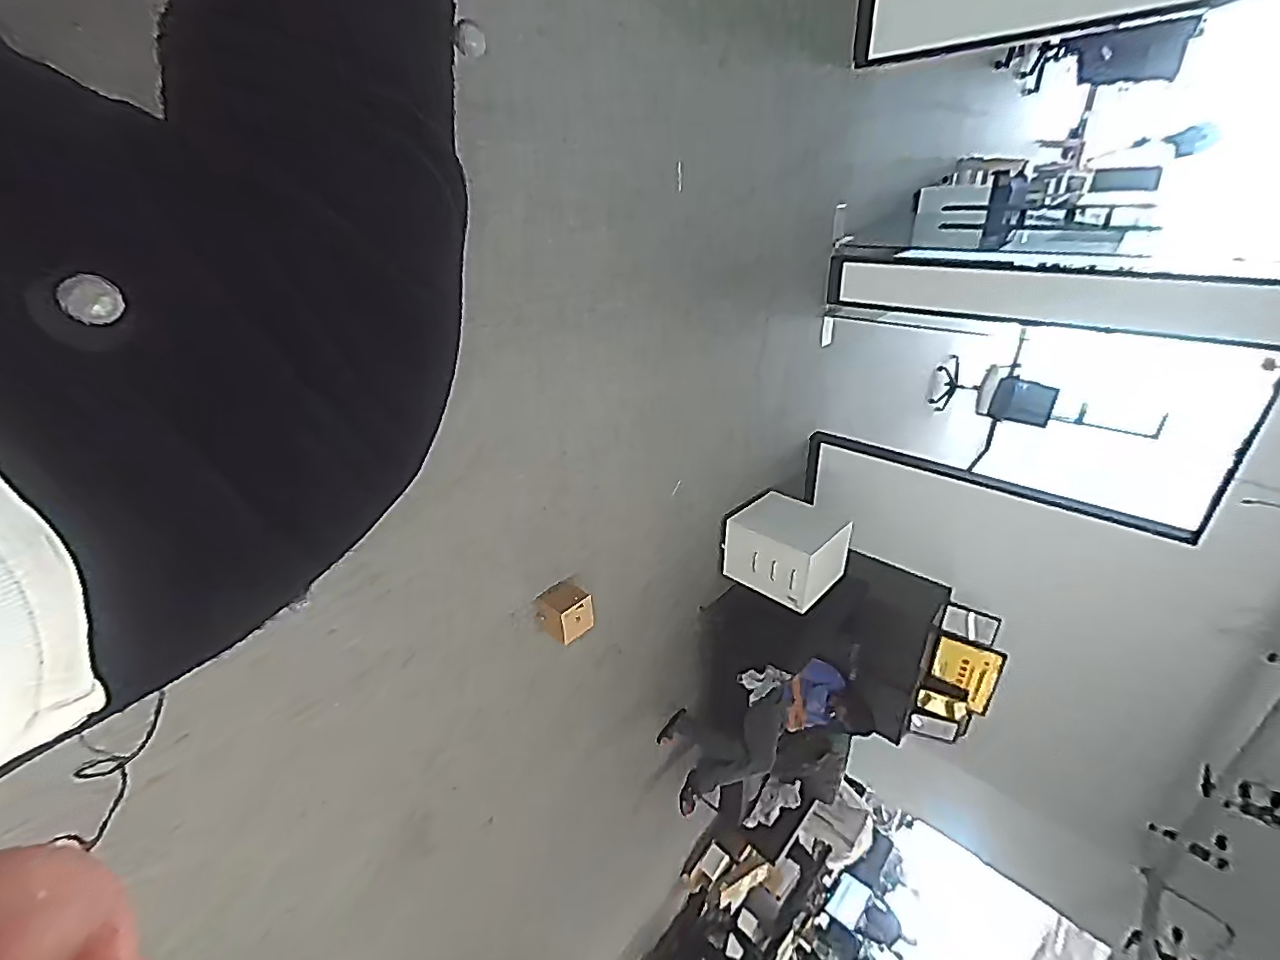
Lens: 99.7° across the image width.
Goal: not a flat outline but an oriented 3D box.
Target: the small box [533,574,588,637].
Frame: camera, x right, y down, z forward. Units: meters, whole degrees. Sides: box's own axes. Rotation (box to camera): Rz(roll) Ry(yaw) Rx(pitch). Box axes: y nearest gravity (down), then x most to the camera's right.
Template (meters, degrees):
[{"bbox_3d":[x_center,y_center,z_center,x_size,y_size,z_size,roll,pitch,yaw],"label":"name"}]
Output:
[{"bbox_3d":[-0.348,0.540,2.350,0.168,0.176,0.179,-29,129,-40],"label":"small box"}]
